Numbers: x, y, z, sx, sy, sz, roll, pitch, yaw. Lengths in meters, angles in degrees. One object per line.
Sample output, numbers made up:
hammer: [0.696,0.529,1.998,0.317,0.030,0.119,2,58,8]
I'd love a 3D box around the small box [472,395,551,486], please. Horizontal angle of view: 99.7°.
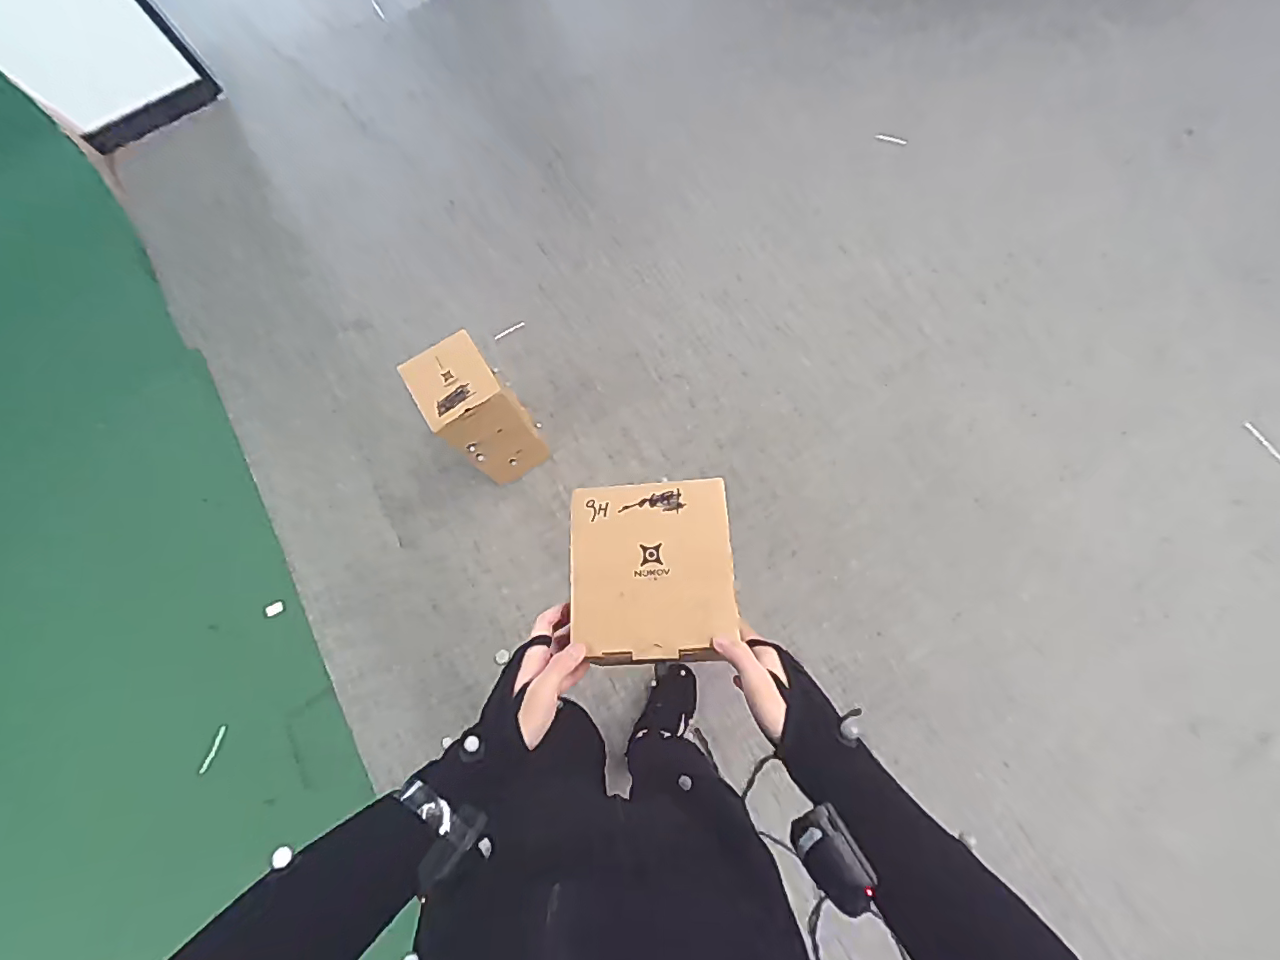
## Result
small box: [-0.373,-0.103,1.522,0.179,0.176,0.168,-30,76,-6]

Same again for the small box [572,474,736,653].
small box: [0.019,0.107,0.630,0.168,0.176,0.179,-5,69,4]

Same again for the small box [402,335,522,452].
small box: [-0.385,-0.180,1.203,0.168,0.176,0.179,-32,74,-6]
